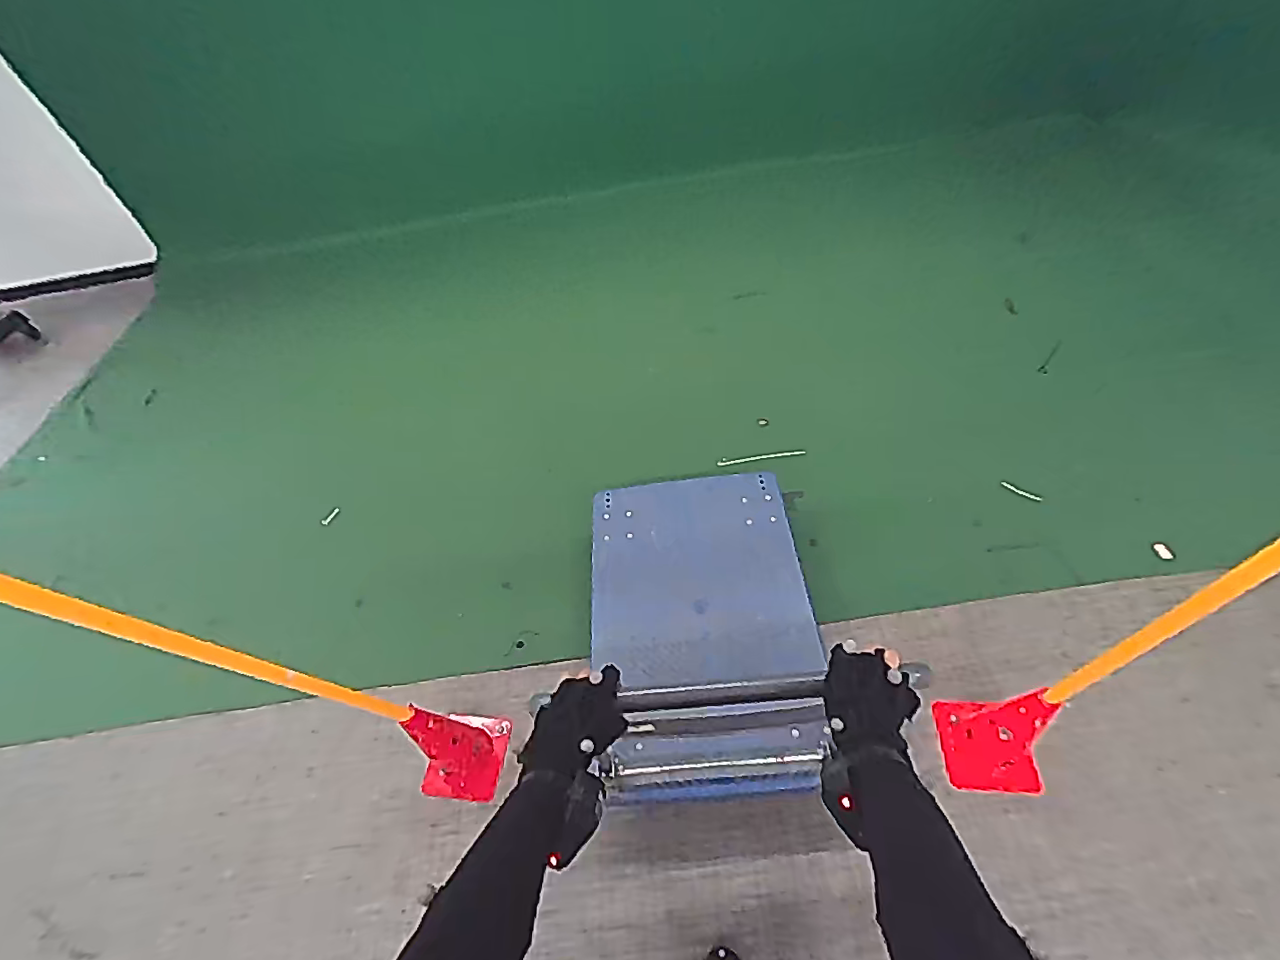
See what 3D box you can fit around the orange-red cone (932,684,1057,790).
[{"bbox_3d":[0.800,0.520,1.165,0.198,0.360,0.199,0,51,9],"label":"orange-red cone"}]
